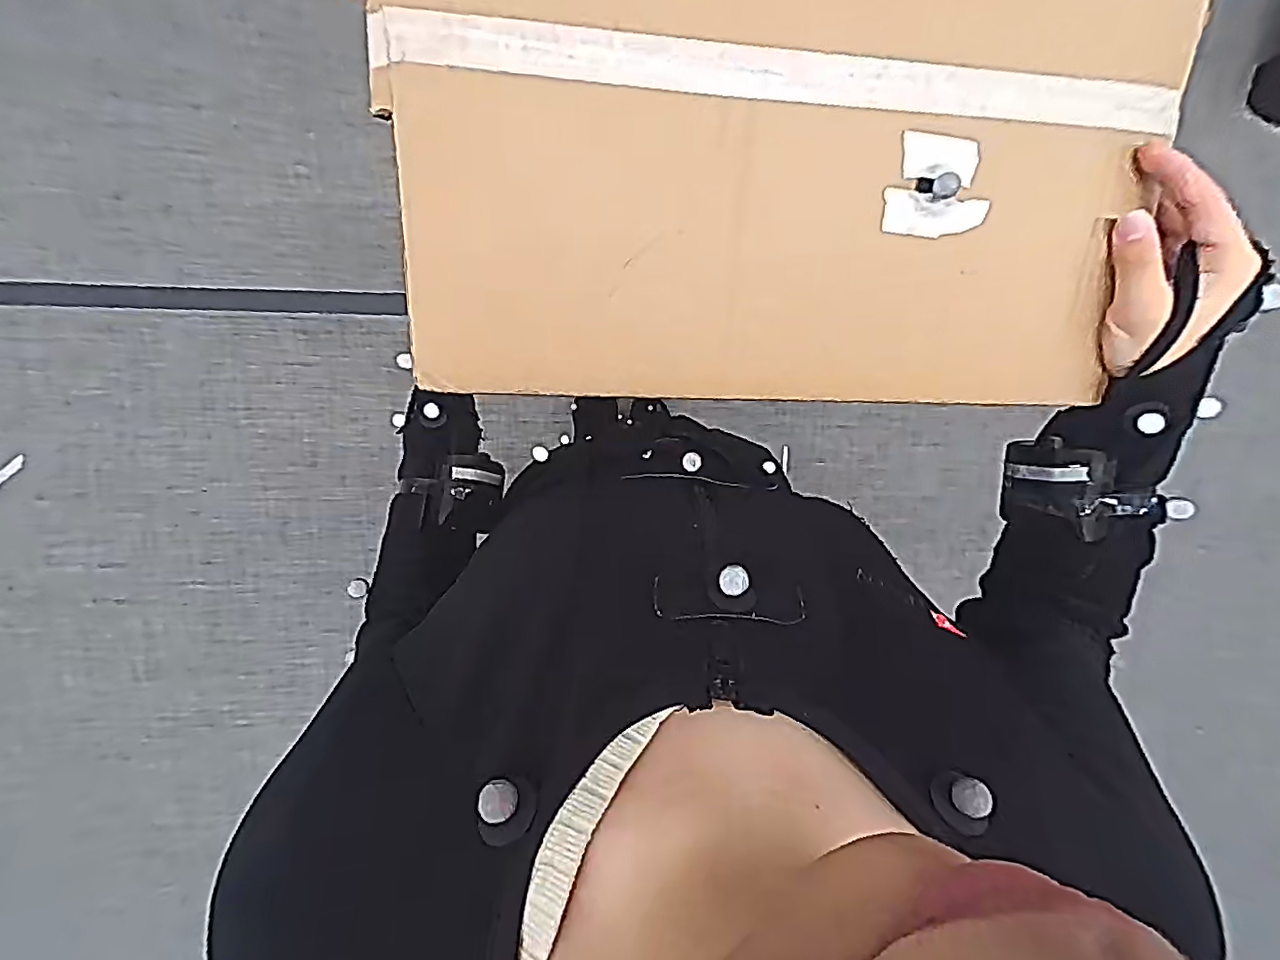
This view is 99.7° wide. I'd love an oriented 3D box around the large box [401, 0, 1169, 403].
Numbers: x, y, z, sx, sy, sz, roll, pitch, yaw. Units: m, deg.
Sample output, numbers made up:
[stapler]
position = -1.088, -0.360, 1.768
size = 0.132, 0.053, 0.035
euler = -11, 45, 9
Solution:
[large box]
position = 0.063, -0.234, 0.423
size = 0.408, 0.320, 0.320
euler = -1, 106, -9
